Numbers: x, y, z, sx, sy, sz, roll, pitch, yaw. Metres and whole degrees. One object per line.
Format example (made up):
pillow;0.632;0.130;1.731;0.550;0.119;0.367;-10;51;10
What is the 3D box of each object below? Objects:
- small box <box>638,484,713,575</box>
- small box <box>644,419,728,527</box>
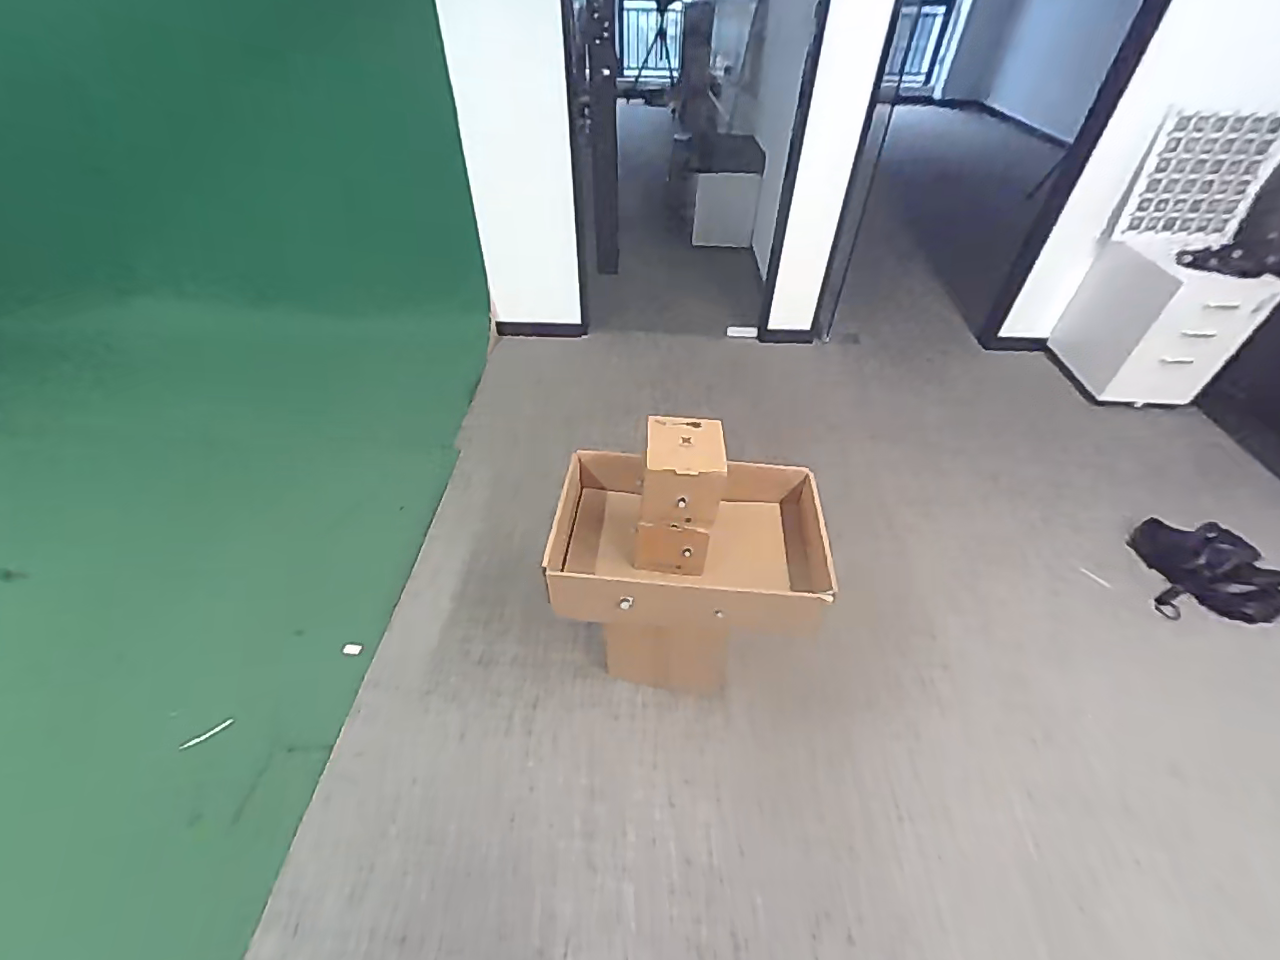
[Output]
small box;0.085;0.110;1.309;0.168;0.176;0.179;6;42;1
small box;0.098;-0.013;1.202;0.168;0.176;0.179;5;44;-1
